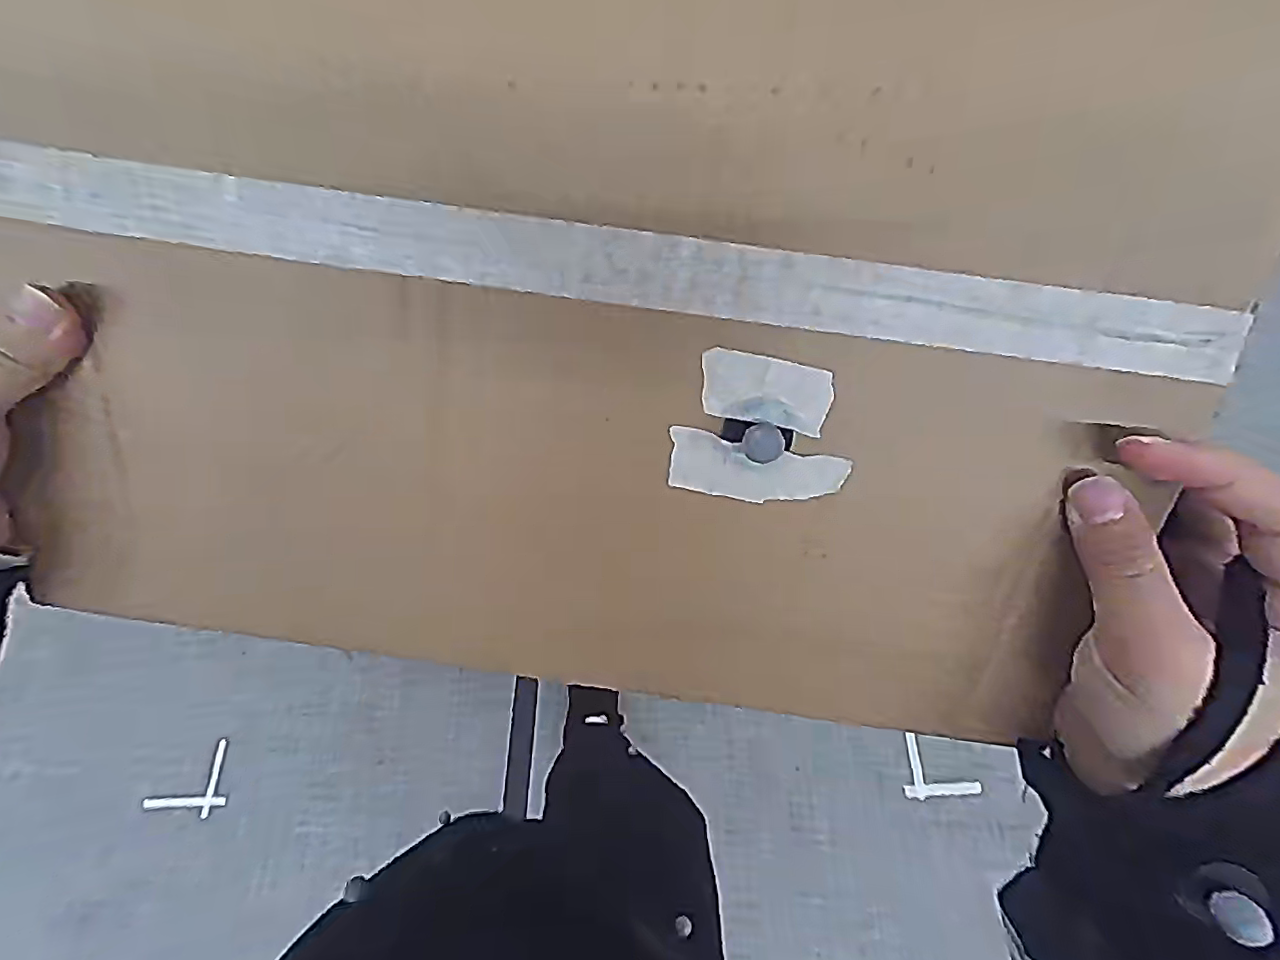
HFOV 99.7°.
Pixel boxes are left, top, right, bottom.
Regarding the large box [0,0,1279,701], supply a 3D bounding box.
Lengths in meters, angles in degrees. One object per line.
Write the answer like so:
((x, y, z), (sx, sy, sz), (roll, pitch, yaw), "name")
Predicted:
((-0.009, -0.119, 0.320), (0.408, 0.320, 0.320), (8, 109, 0), "large box")
